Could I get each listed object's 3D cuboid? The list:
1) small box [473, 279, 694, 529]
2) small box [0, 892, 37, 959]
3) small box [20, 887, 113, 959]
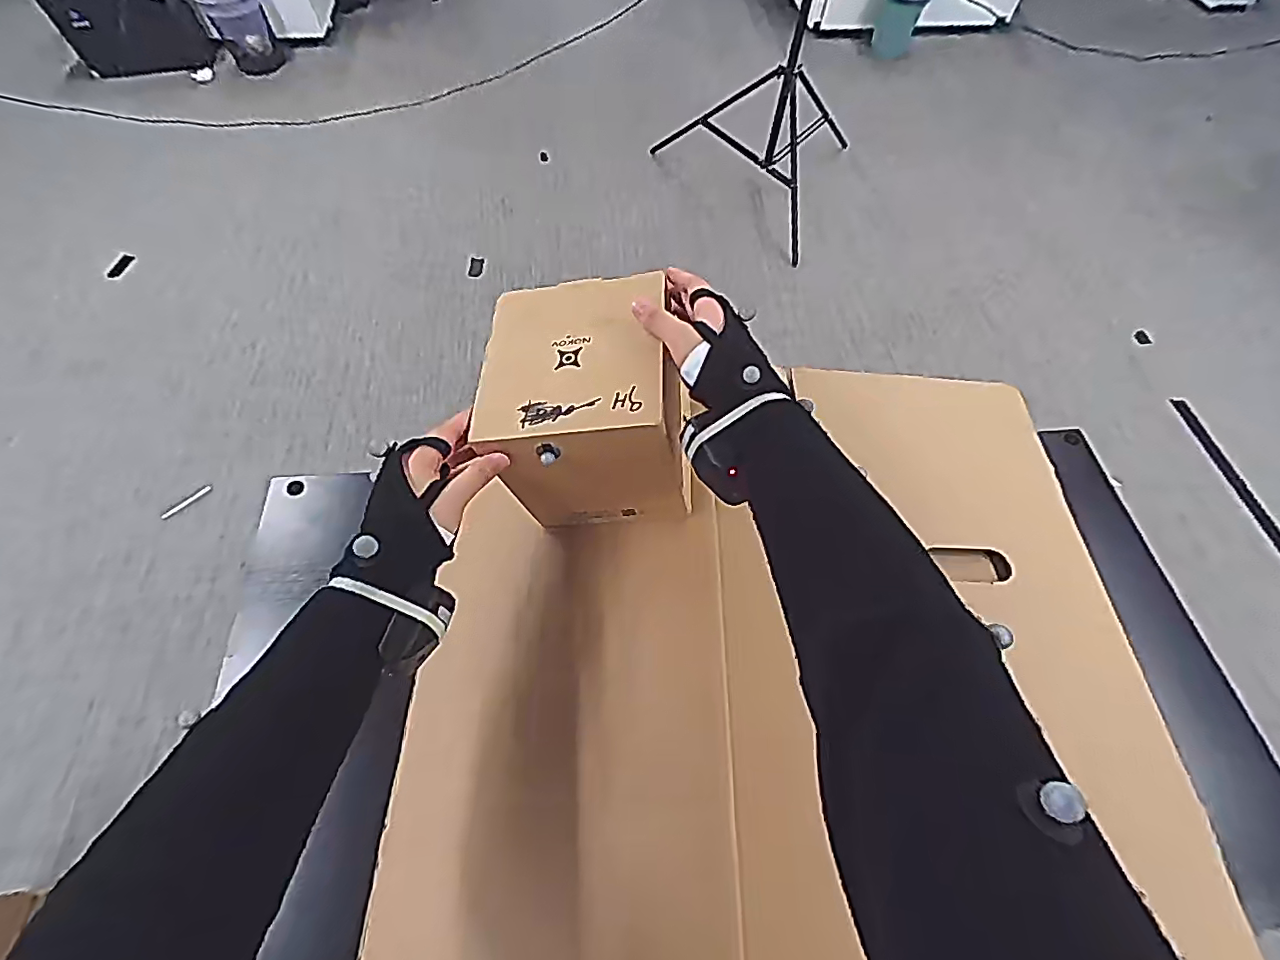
[{"bbox_3d":[-0.040,-0.067,0.544,0.168,0.176,0.179,-5,59,12],"label":"small box"},{"bbox_3d":[-1.140,0.790,0.859,0.168,0.176,0.179,-10,60,-8],"label":"small box"},{"bbox_3d":[-1.142,0.876,0.997,0.168,0.176,0.179,-7,61,-6],"label":"small box"}]
